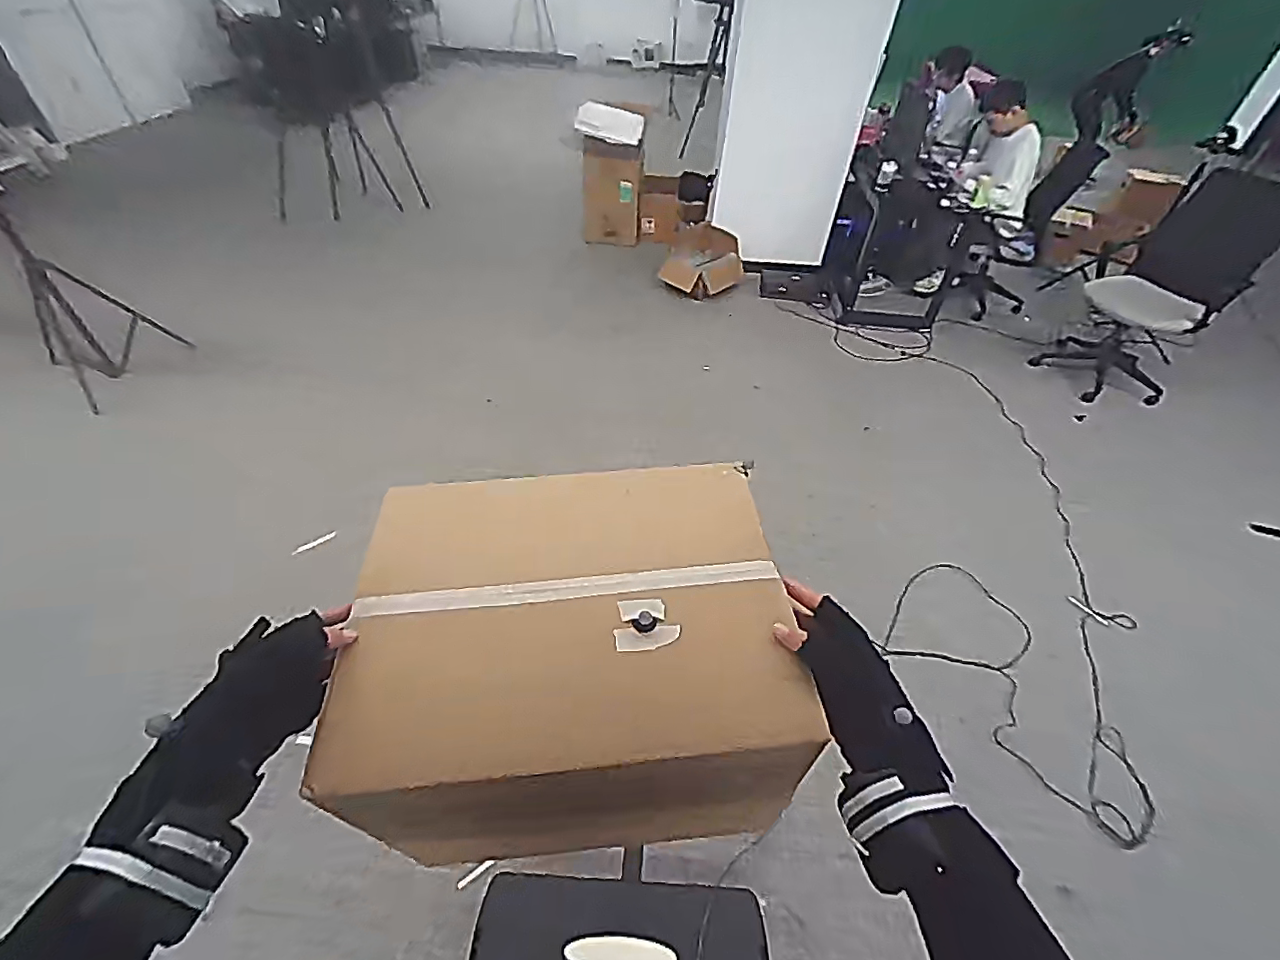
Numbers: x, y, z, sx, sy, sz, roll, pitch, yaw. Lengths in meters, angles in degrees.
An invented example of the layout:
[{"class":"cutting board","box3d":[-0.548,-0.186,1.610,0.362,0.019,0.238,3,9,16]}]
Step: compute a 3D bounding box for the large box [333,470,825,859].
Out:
[{"class":"large box","box3d":[-0.059,0.214,0.639,0.408,0.320,0.320,-4,47,-4]}]
